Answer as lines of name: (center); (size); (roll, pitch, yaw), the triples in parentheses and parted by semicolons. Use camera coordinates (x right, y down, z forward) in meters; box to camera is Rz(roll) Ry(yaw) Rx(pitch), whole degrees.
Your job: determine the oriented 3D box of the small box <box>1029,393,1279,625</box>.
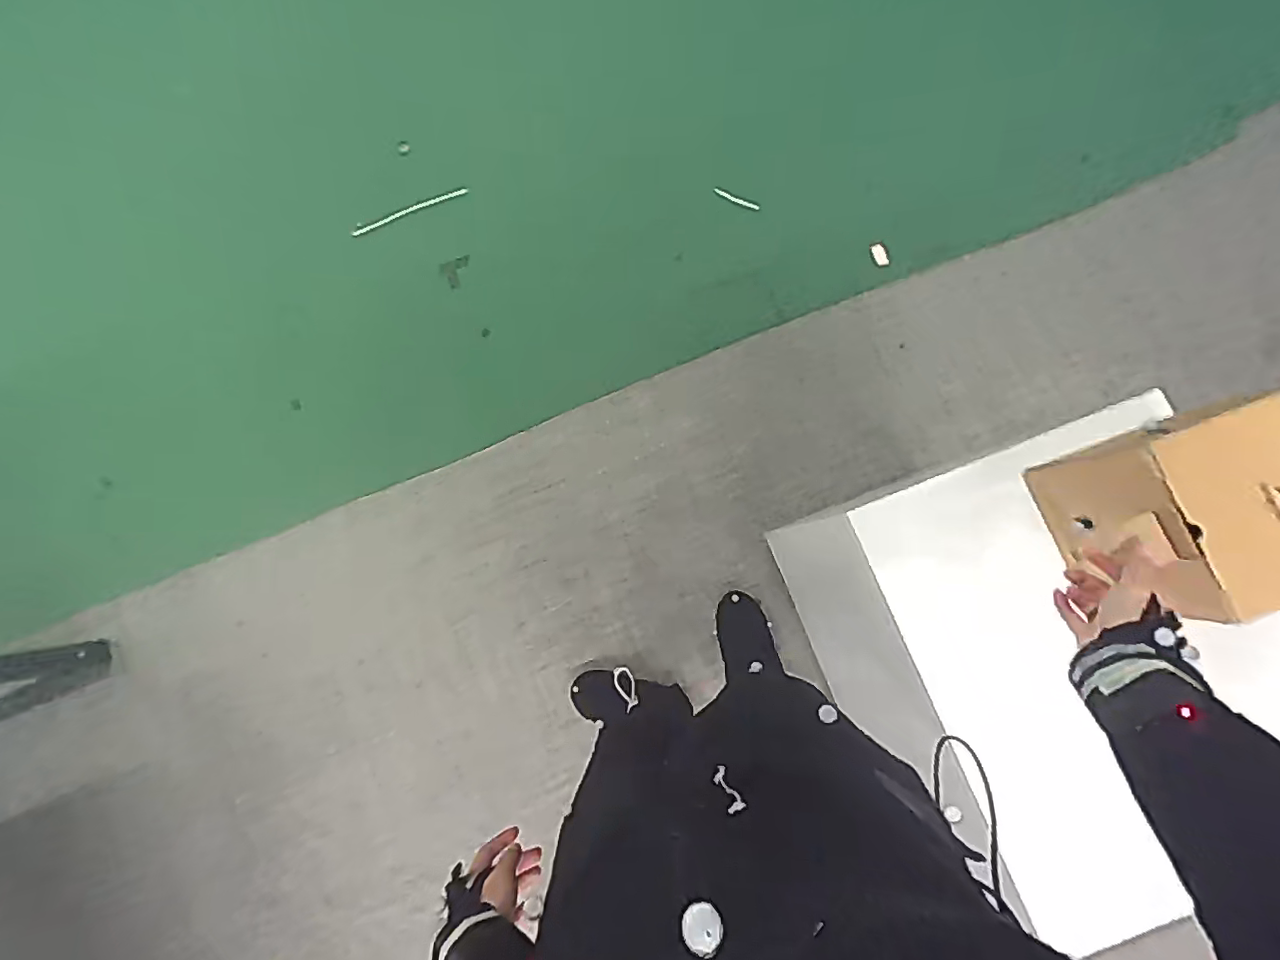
small box: (0.548, 0.025, 0.536); (0.179, 0.176, 0.168); (-21, 82, 1)
